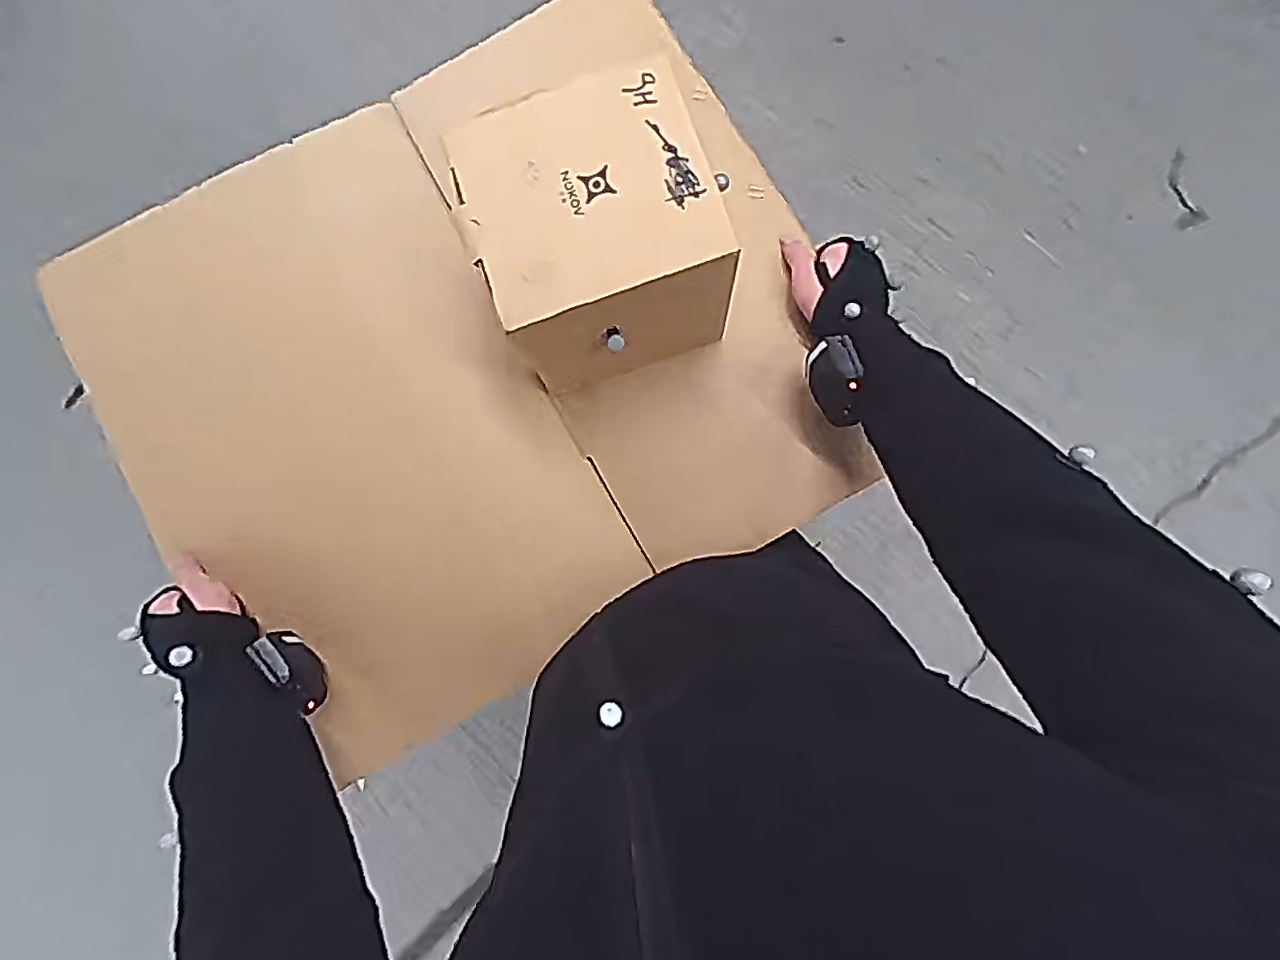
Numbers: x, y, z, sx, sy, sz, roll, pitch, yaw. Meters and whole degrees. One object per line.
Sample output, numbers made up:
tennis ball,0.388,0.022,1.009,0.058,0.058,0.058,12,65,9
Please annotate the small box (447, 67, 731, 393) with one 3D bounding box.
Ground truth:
small box,-0.032,-0.193,0.473,0.179,0.176,0.168,-20,83,3
